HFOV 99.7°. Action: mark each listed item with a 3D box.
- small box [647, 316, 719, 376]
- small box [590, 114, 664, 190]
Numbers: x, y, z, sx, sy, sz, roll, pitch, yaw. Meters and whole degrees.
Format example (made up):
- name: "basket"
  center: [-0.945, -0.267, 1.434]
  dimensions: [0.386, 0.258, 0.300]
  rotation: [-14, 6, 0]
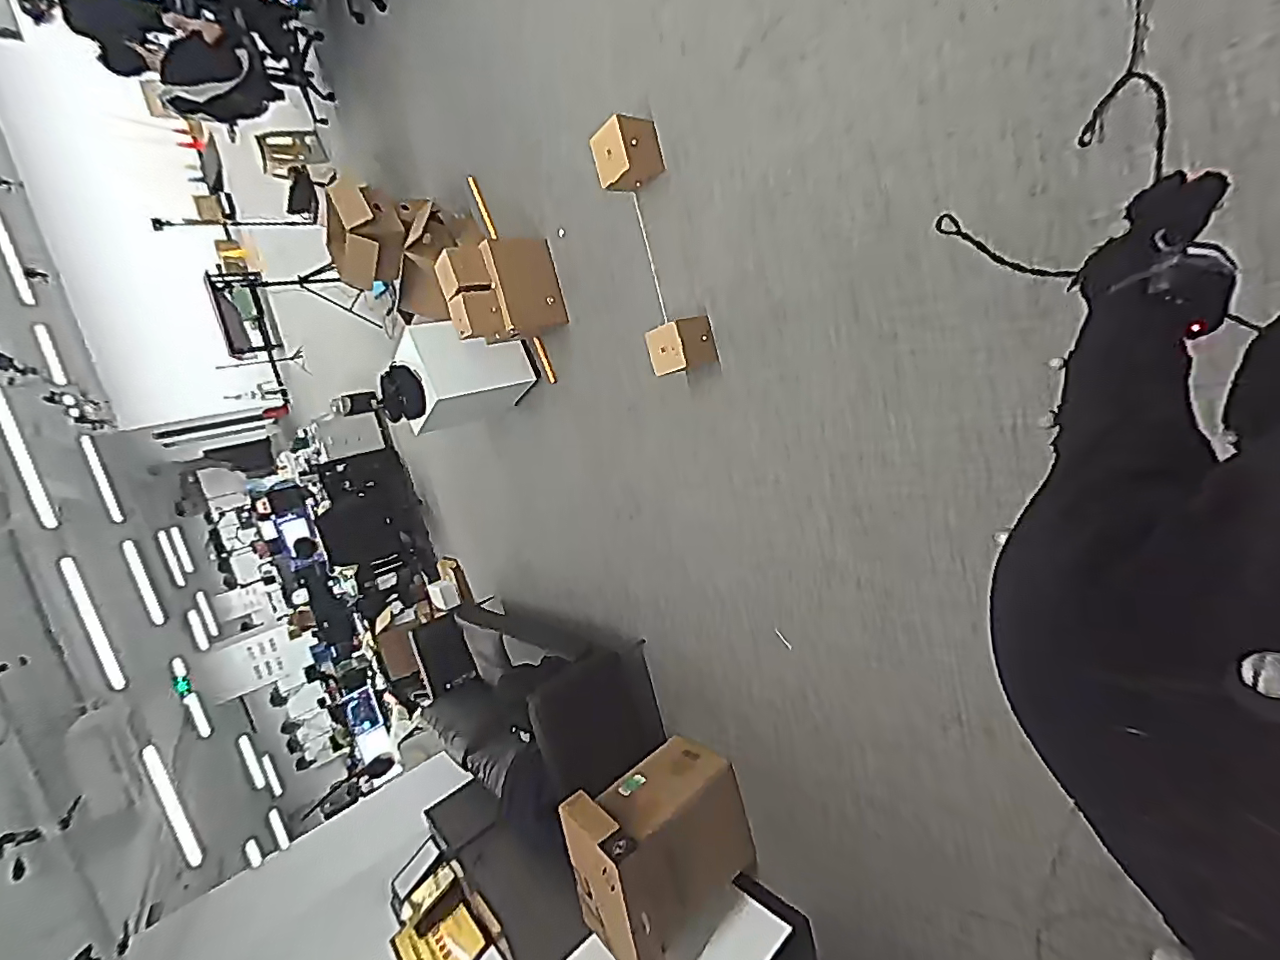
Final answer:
- name: "small box"
  center: [0.158, -0.489, 1.971]
  dimensions: [0.179, 0.176, 0.168]
  rotation: [-6, 103, 53]
- name: "small box"
  center: [-0.043, -1.139, 1.894]
  dimensions: [0.168, 0.176, 0.179]
  rotation: [-6, 103, 52]
